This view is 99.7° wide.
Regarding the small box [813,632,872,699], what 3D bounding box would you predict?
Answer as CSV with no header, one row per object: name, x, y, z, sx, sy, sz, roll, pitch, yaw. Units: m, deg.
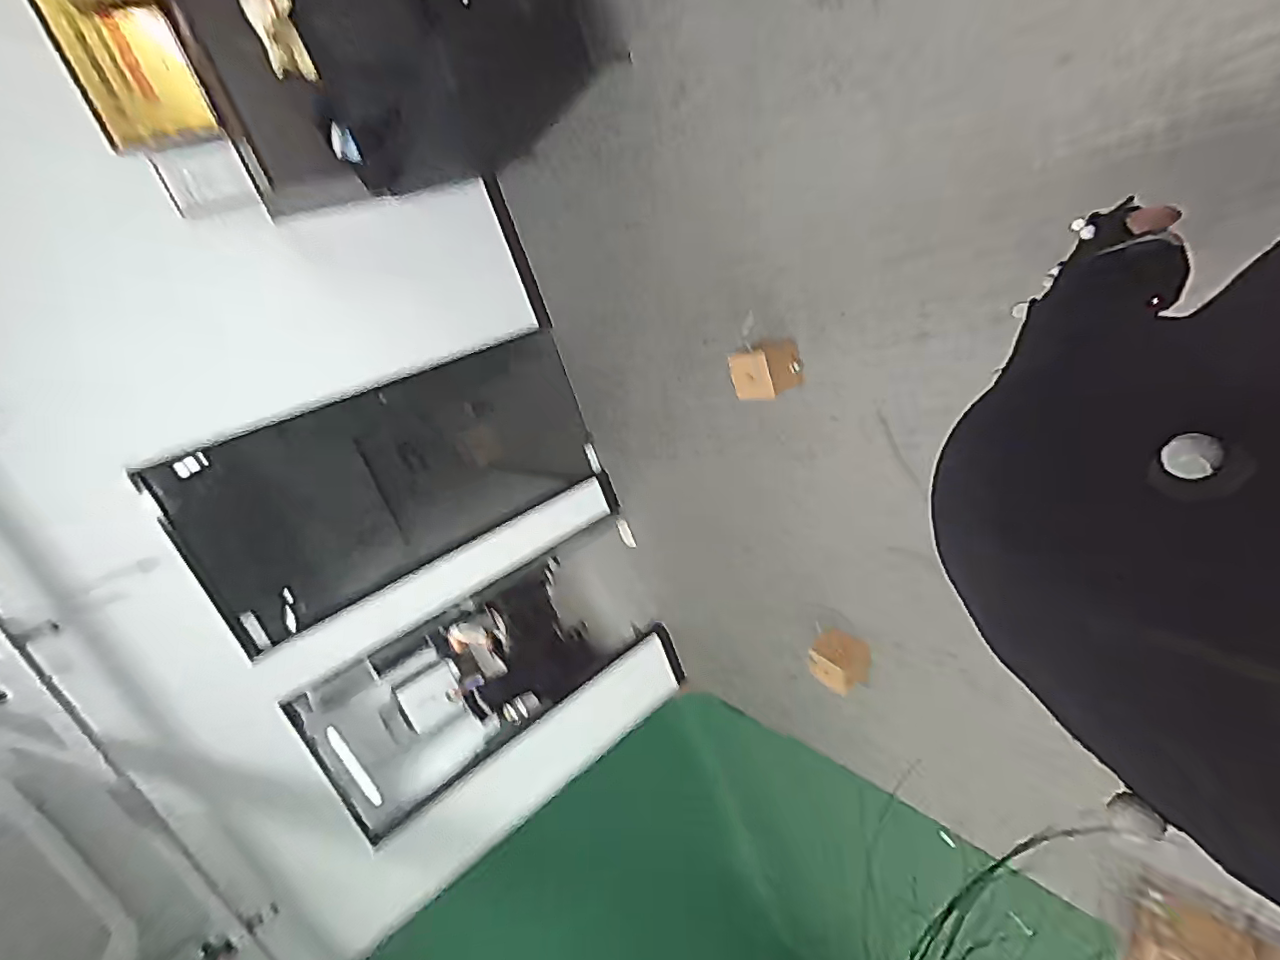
small box,0.859,0.776,2.284,0.179,0.176,0.168,23,134,48

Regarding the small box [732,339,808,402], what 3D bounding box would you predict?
small box,0.458,-0.383,1.904,0.179,0.176,0.168,7,122,55
